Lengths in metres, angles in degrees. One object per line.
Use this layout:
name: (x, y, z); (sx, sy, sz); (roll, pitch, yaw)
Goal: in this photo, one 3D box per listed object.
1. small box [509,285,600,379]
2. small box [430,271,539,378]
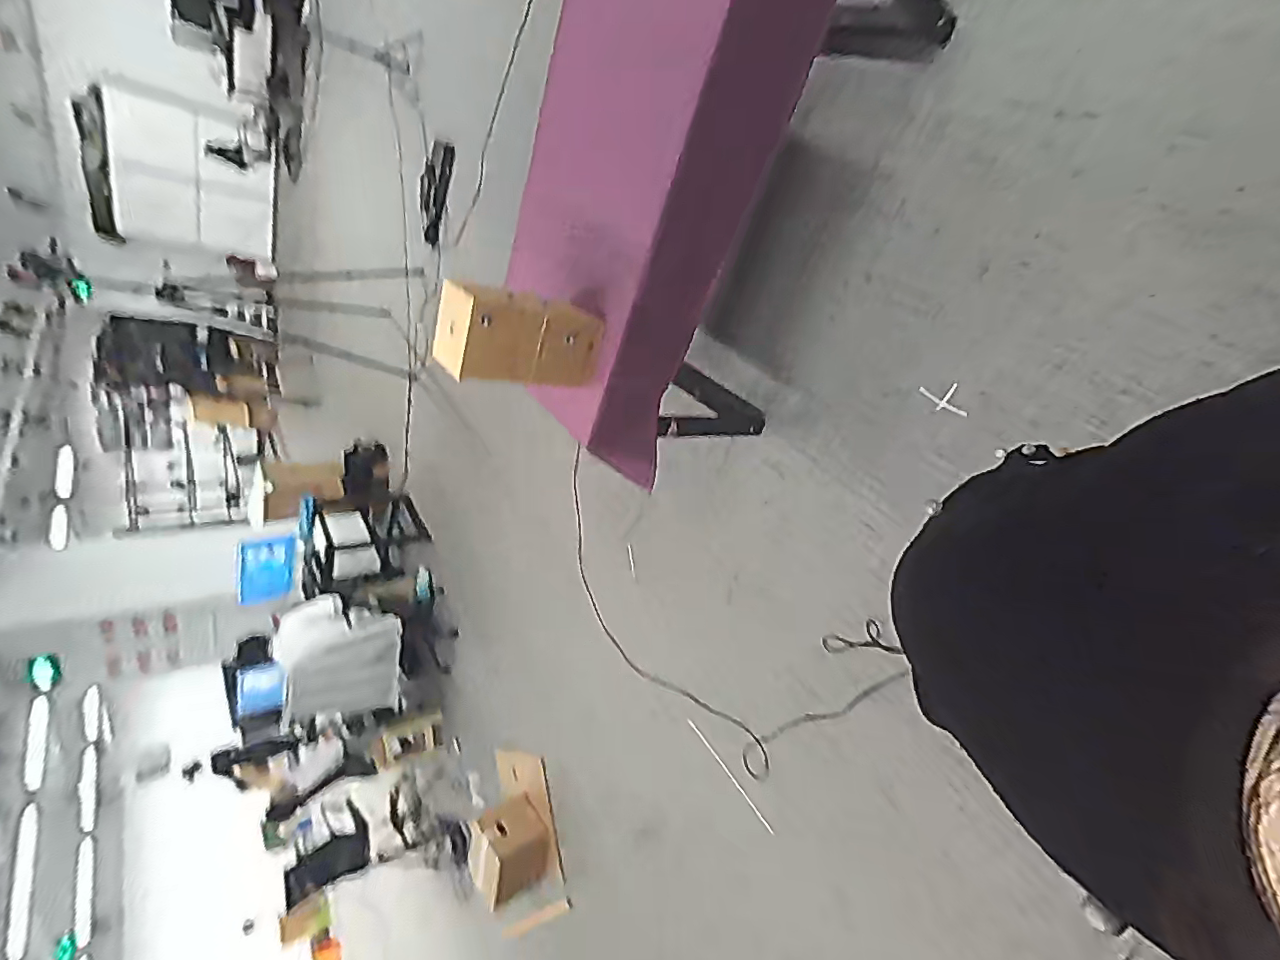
small box: (-0.222, -0.351, 1.306); (0.179, 0.176, 0.168); (42, 122, 38)
small box: (-0.345, -0.339, 1.200); (0.168, 0.176, 0.179); (40, 120, 39)
